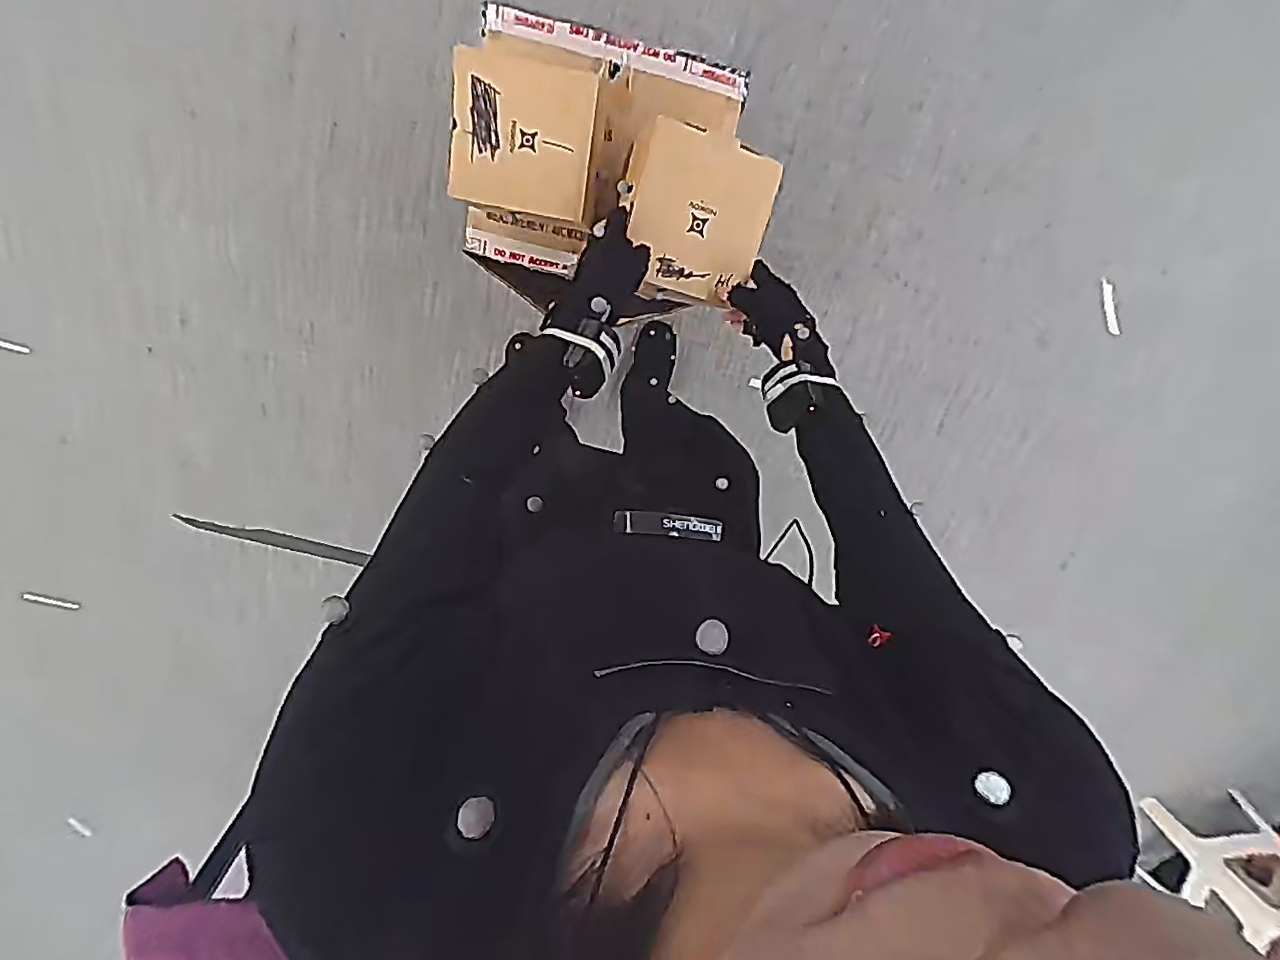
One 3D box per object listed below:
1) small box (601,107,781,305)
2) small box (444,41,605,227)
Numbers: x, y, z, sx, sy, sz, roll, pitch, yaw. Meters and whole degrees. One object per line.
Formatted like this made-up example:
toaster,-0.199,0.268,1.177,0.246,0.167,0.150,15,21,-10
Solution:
small box,0.053,-0.341,0.710,0.168,0.176,0.179,11,106,-16
small box,-0.149,-0.450,0.735,0.179,0.176,0.168,9,111,-4
